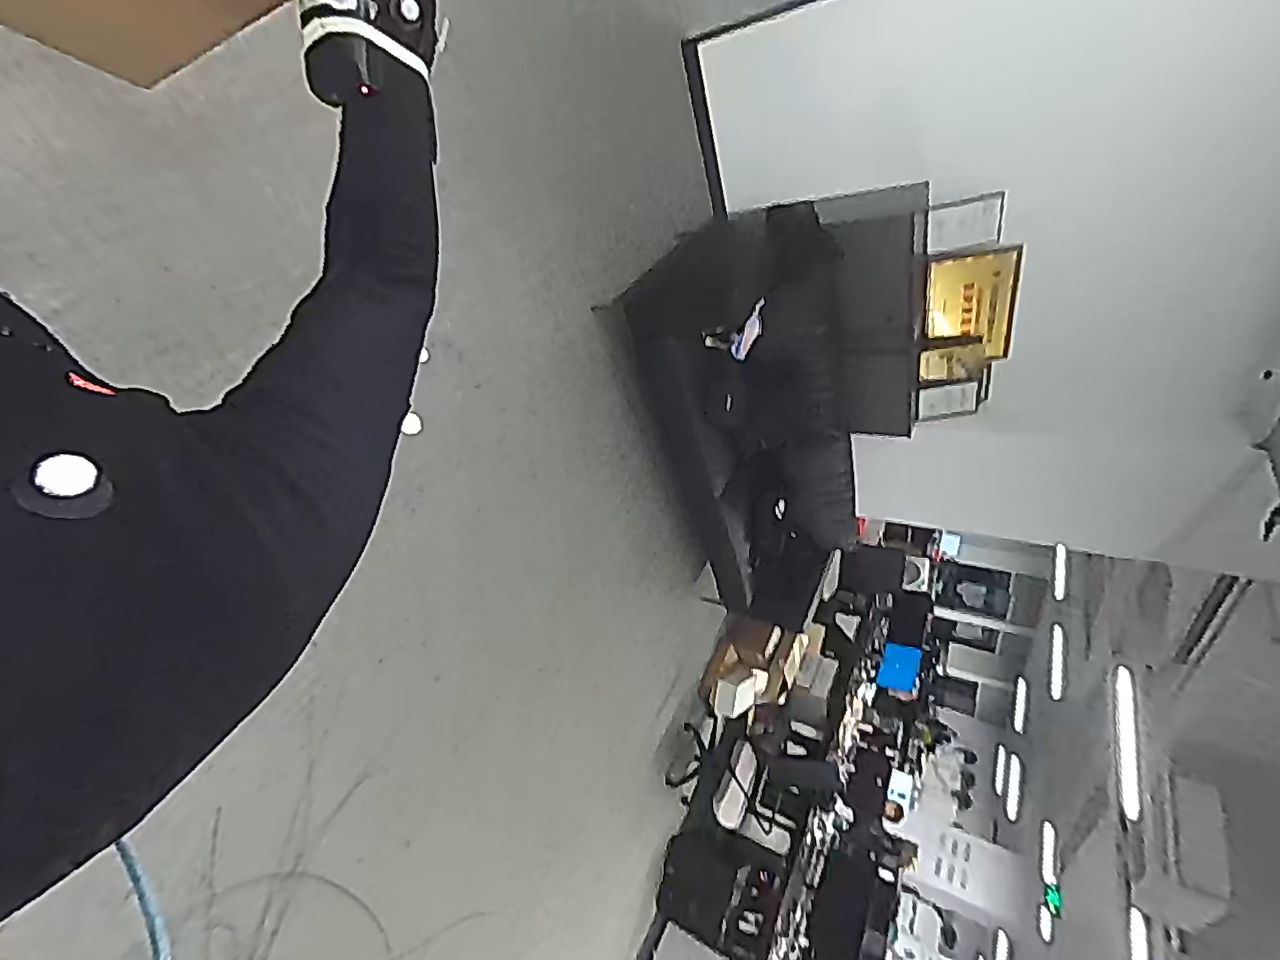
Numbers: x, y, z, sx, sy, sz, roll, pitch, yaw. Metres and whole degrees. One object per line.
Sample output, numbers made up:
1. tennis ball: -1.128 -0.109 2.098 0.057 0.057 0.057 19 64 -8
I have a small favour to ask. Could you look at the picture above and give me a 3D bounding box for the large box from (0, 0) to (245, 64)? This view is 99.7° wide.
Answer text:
1. large box: -0.446 -0.509 0.260 0.408 0.320 0.320 -3 105 -57
